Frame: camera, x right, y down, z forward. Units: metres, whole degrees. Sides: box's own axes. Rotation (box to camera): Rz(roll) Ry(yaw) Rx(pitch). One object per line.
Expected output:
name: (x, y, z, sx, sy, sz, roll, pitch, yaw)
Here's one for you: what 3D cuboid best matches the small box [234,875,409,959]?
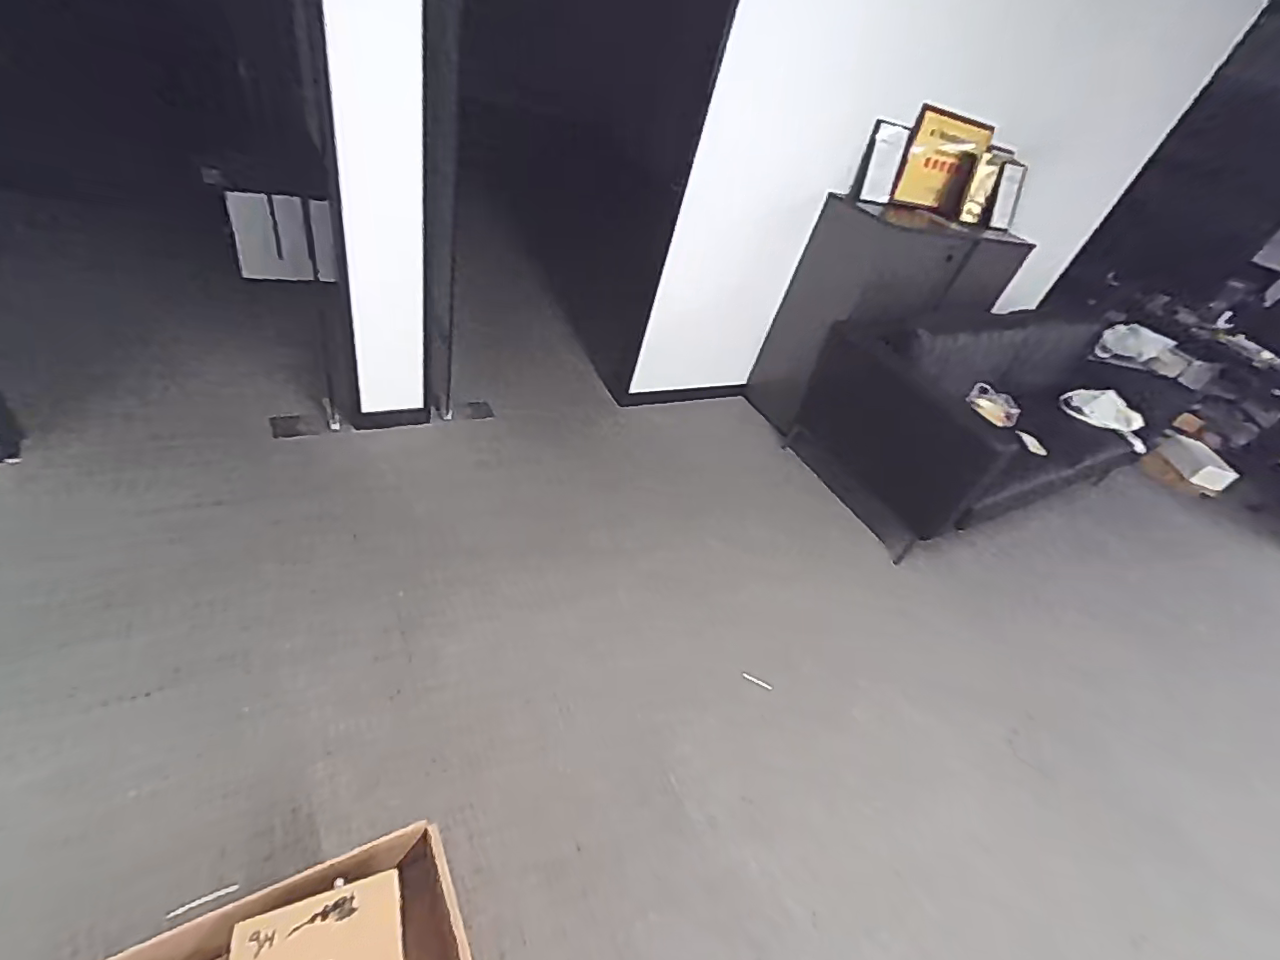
small box: (-0.356, 0.600, 0.621, 0.168, 0.176, 0.179, -4, 45, -26)
